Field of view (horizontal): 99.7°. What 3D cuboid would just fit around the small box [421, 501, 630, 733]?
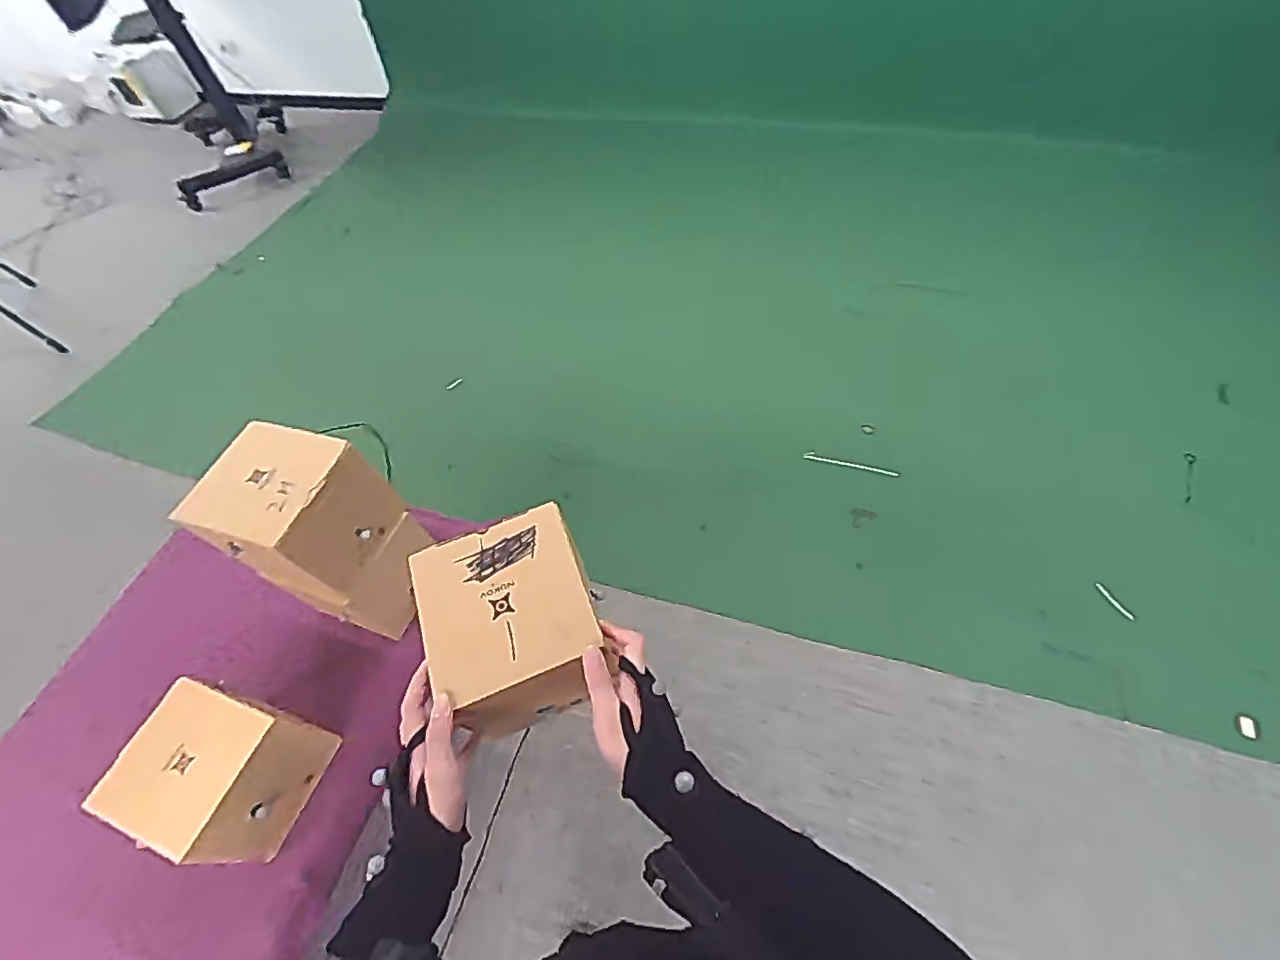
[{"bbox_3d":[-0.121,0.158,0.606,0.168,0.176,0.179,-21,58,-6],"label":"small box"}]

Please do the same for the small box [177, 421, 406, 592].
[{"bbox_3d":[-0.481,0.042,0.775,0.179,0.176,0.168,13,60,15],"label":"small box"}]

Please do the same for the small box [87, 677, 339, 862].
[{"bbox_3d":[-0.567,0.397,0.748,0.179,0.176,0.168,13,59,16],"label":"small box"}]
